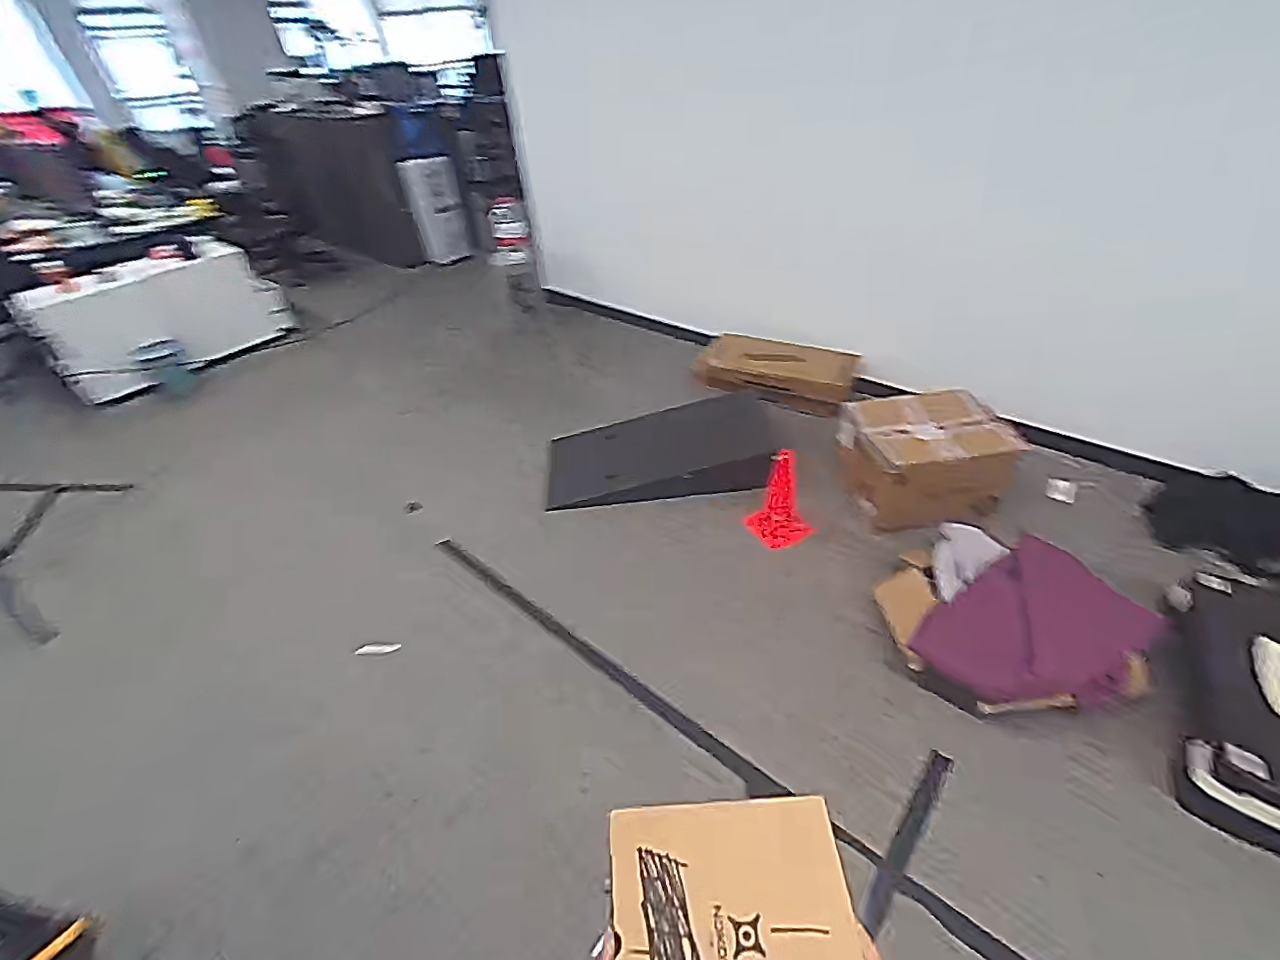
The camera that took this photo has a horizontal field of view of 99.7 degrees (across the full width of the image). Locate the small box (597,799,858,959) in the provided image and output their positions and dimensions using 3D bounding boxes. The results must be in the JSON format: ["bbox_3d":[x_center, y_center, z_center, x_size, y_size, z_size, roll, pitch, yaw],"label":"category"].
[{"bbox_3d":[0.062,0.373,0.429,0.179,0.176,0.168,-4,46,-3],"label":"small box"}]
